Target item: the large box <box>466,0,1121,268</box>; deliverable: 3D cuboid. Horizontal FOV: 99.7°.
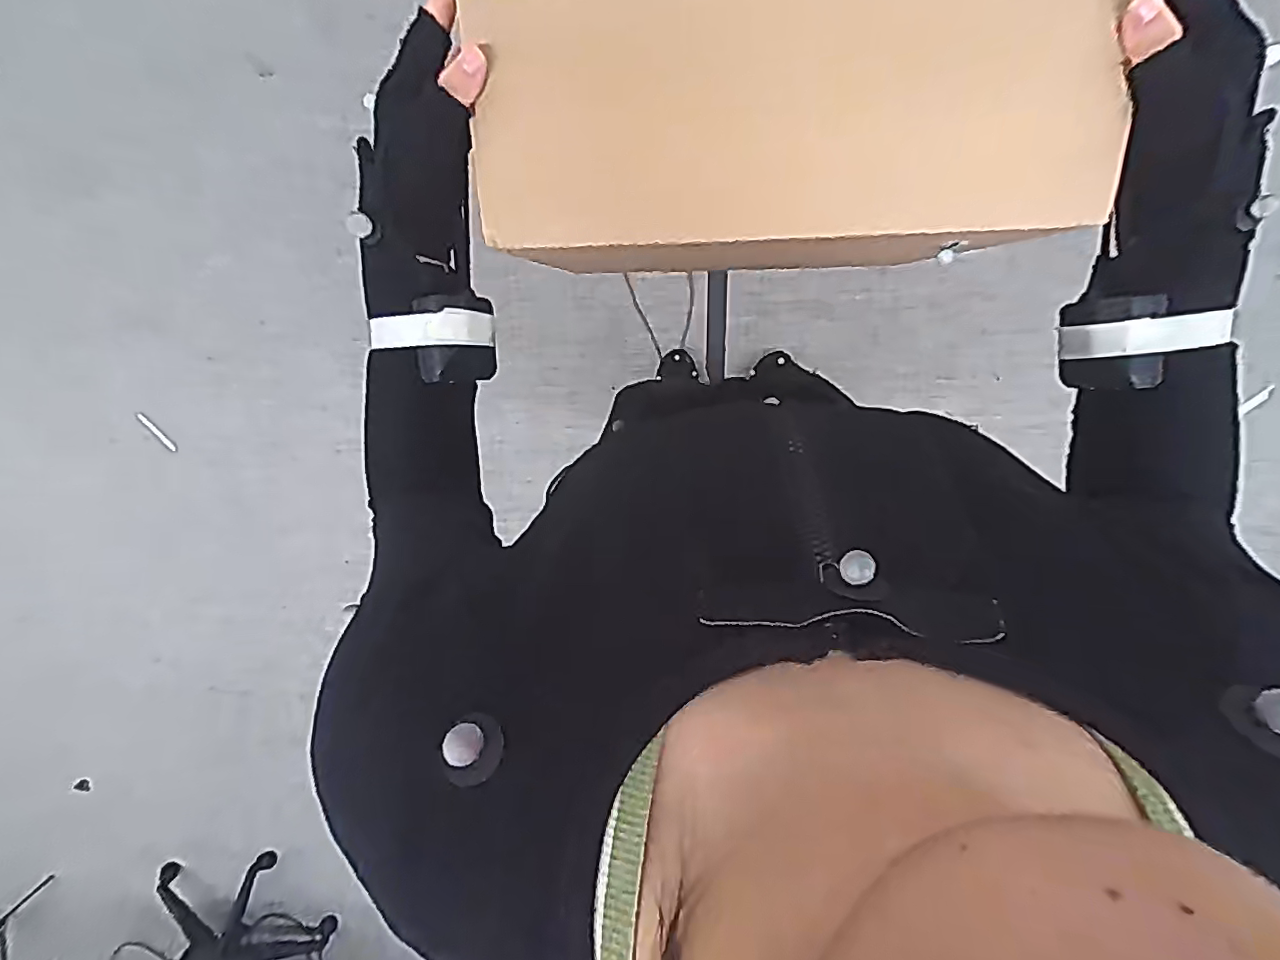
[{"bbox_3d":[0.098,-0.361,0.464,0.408,0.320,0.320,0,108,4],"label":"large box"}]
